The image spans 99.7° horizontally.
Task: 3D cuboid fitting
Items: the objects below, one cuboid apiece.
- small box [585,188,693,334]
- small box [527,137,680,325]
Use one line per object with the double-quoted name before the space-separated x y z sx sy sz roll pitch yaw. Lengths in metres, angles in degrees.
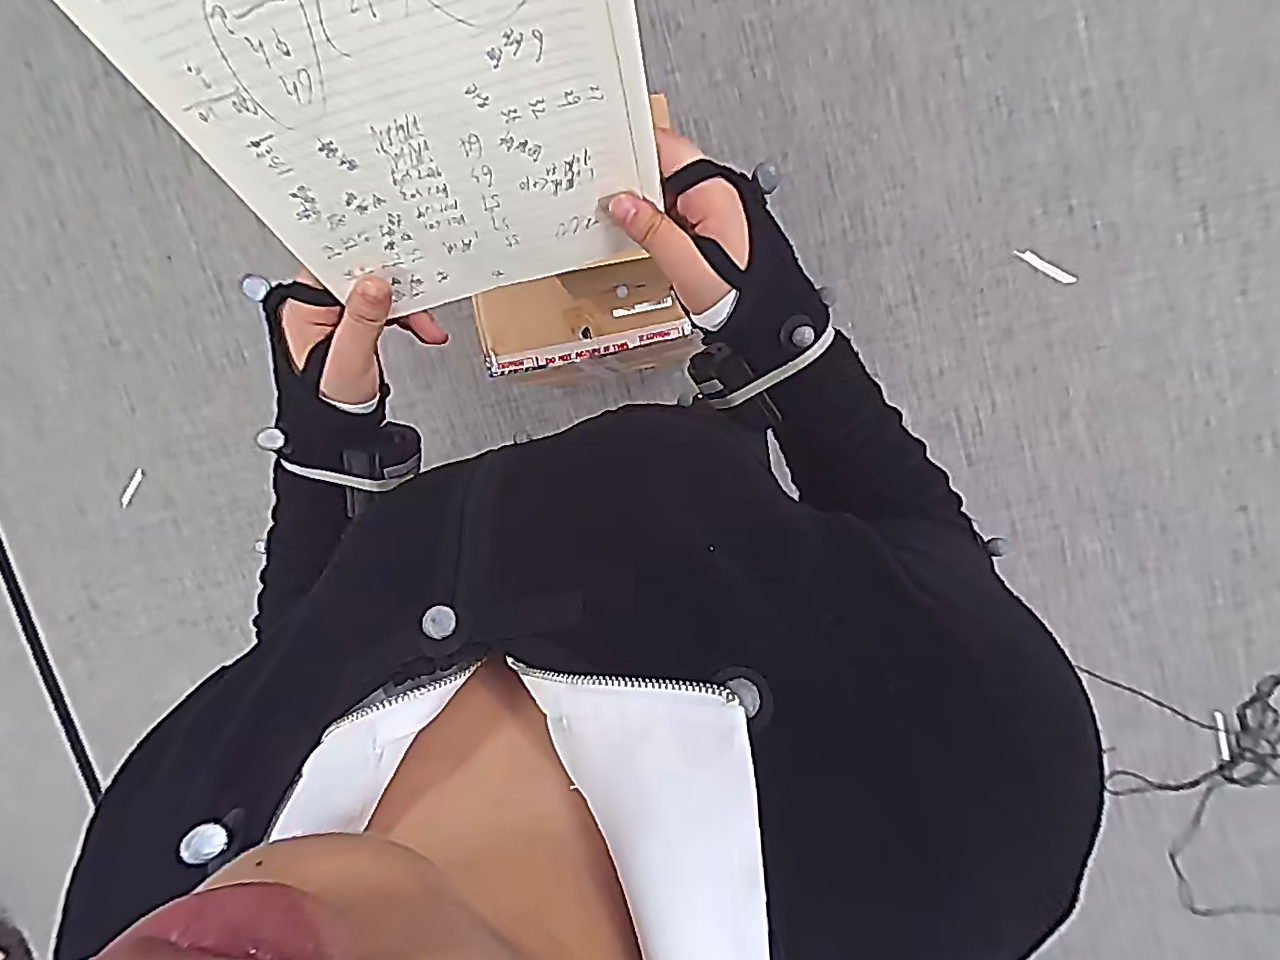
"small box" -0.017 -0.347 0.889 0.179 0.176 0.168 -12 97 4
"small box" -0.042 -0.319 0.728 0.168 0.176 0.179 -8 98 3
